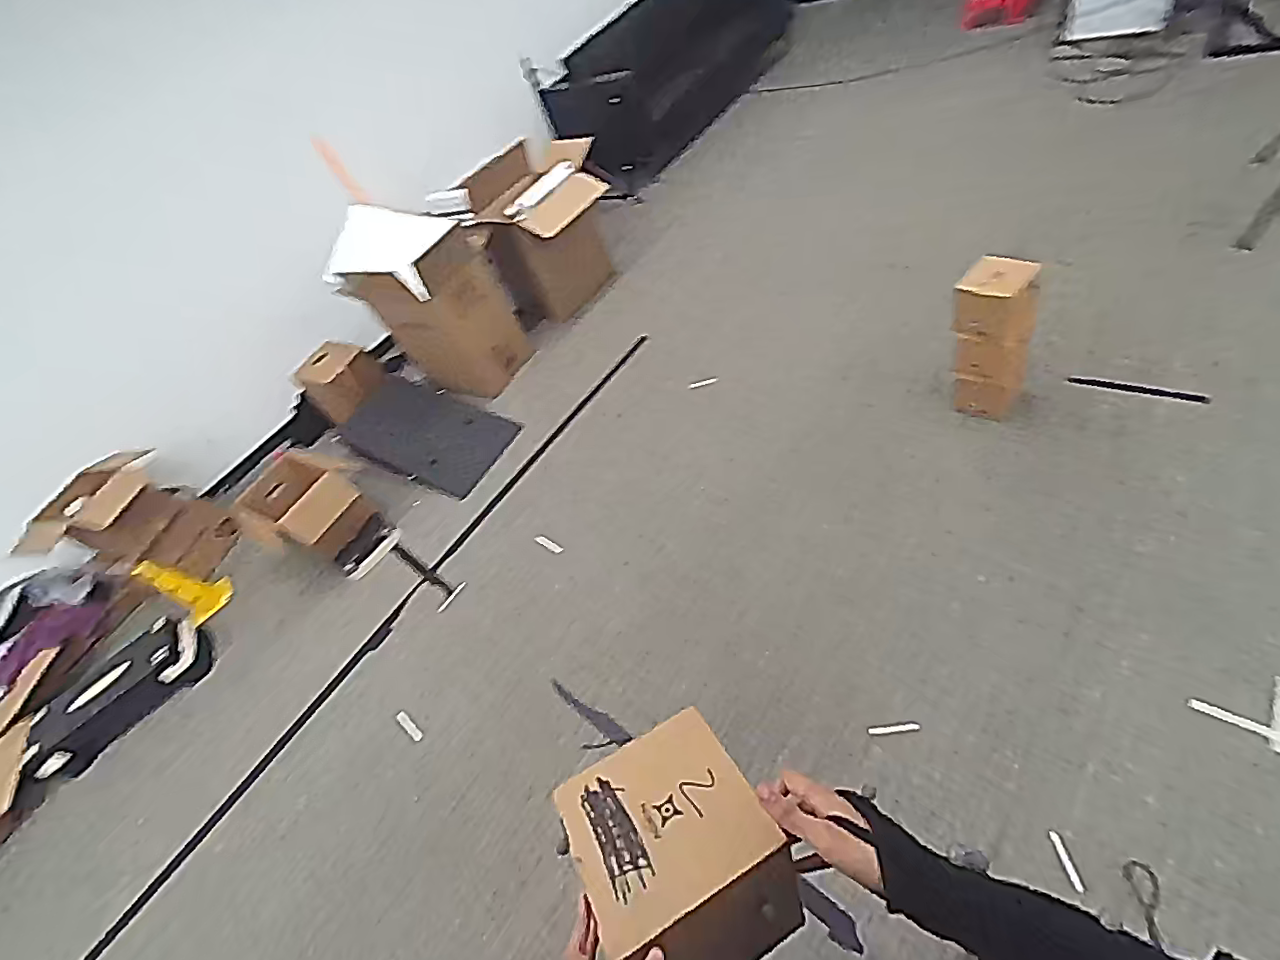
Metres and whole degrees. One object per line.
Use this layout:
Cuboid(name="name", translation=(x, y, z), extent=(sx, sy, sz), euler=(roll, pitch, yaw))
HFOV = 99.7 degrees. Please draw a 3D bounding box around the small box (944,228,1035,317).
Cuboid(name="small box", translation=(1.051, -0.629, 1.642), extent=(0.179, 0.176, 0.168), euler=(-43, 48, -13))
